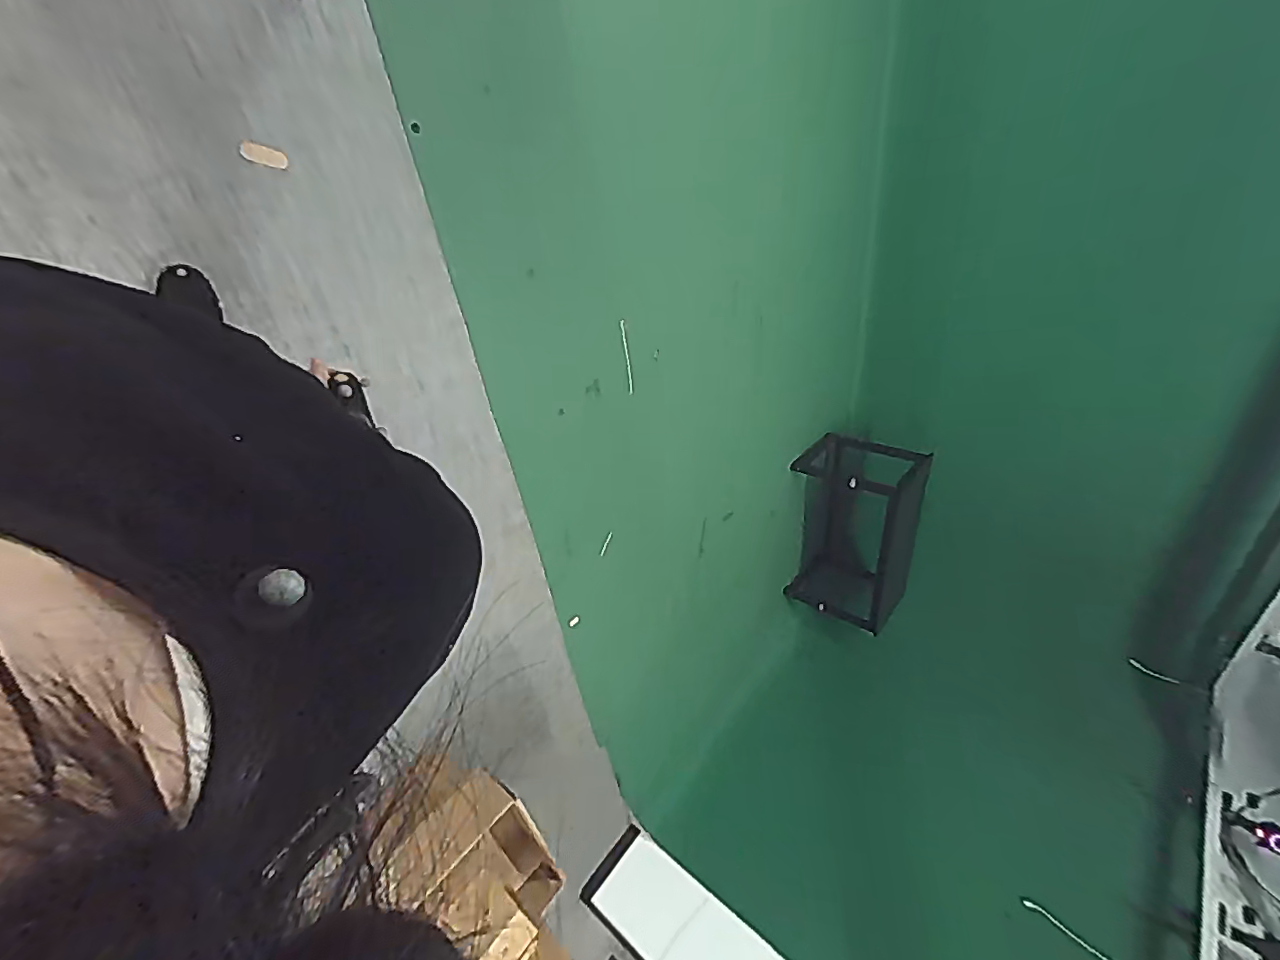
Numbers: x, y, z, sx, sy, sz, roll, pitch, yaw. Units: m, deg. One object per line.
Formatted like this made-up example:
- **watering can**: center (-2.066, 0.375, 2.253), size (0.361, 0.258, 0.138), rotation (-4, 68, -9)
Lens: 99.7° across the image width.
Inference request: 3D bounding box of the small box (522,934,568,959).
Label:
- **small box**: center (-0.255, 1.411, 1.489), size (0.168, 0.176, 0.179), rotation (-40, 130, -33)

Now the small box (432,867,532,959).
- **small box**: center (-0.425, 1.191, 1.451), size (0.168, 0.176, 0.179), rotation (-40, 134, -34)

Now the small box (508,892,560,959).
- **small box**: center (-0.371, 1.371, 1.596), size (0.168, 0.176, 0.179), rotation (-43, 133, -32)
